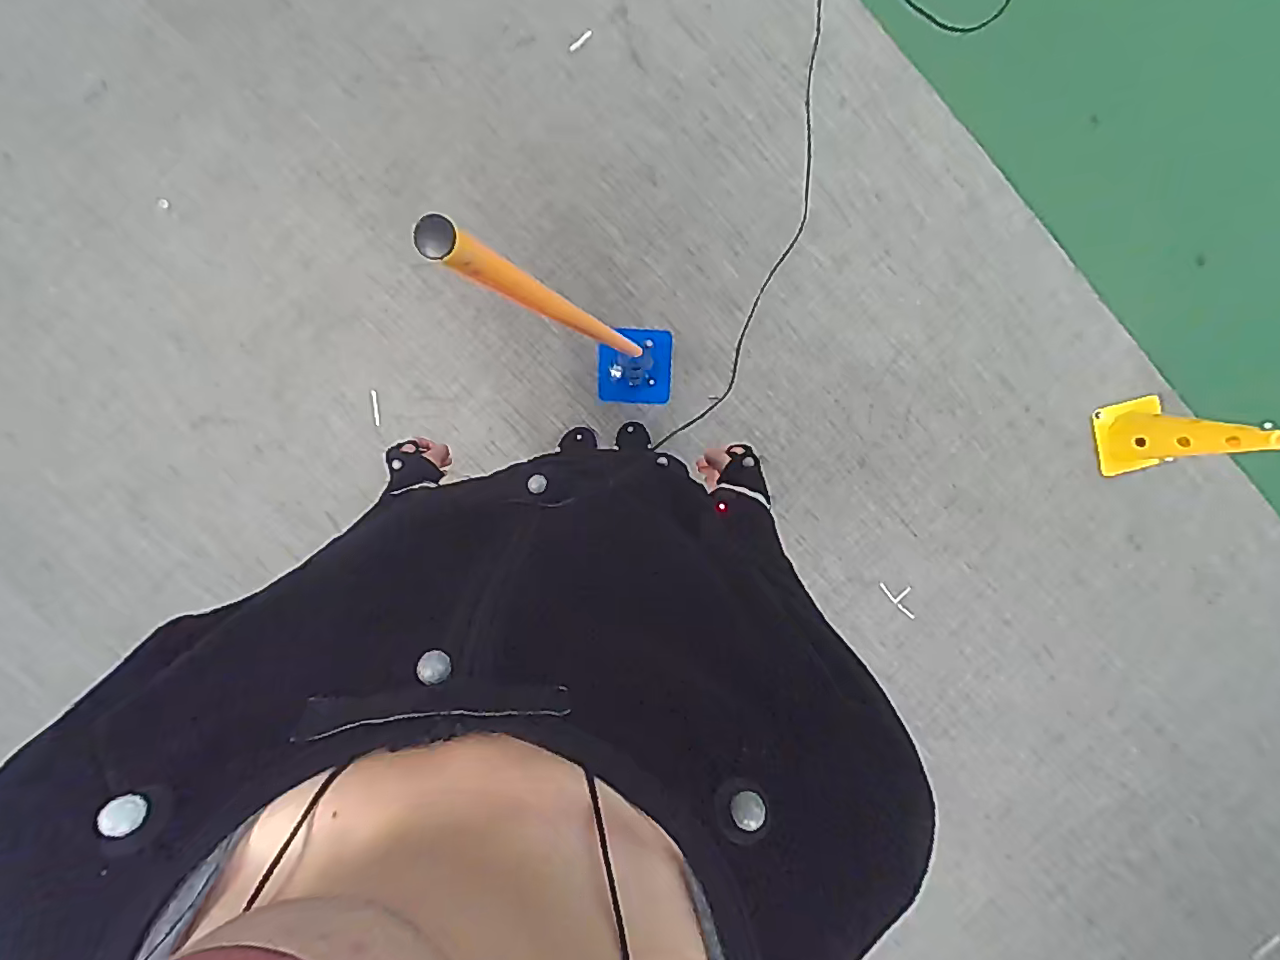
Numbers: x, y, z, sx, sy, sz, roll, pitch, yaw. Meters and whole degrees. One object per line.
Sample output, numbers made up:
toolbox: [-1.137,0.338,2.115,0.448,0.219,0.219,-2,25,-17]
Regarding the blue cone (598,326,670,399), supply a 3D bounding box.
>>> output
blue cone: [-0.015,-0.293,1.287,0.193,0.380,0.192,1,97,-1]
